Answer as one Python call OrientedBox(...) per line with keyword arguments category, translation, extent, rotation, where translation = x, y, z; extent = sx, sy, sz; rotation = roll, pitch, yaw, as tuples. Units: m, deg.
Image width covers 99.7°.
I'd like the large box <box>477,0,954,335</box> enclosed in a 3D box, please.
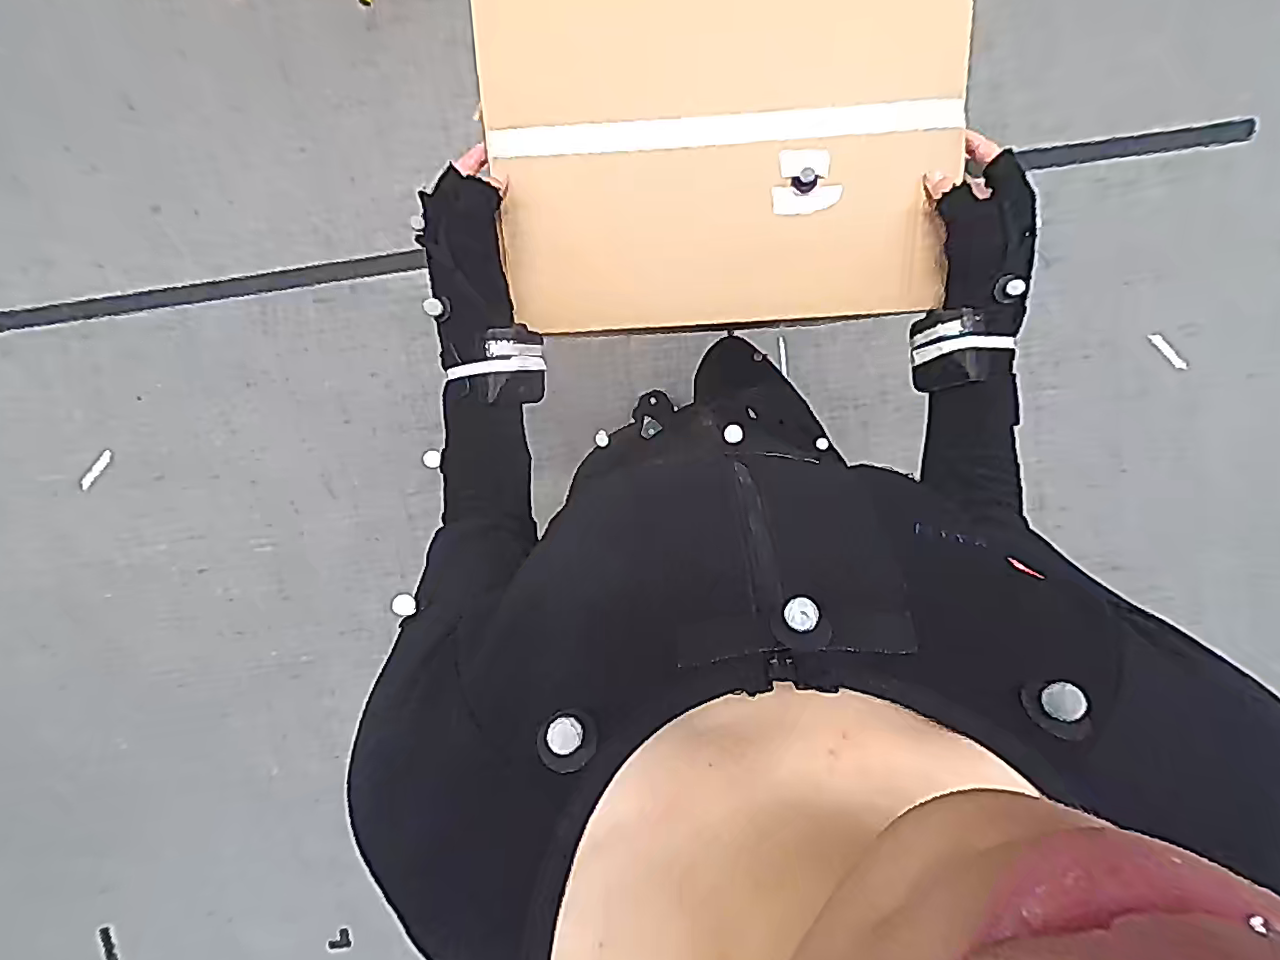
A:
OrientedBox(category="large box", translation=(0.066, -0.344, 0.616), extent=(0.408, 0.320, 0.320), rotation=(-3, 104, 0))
